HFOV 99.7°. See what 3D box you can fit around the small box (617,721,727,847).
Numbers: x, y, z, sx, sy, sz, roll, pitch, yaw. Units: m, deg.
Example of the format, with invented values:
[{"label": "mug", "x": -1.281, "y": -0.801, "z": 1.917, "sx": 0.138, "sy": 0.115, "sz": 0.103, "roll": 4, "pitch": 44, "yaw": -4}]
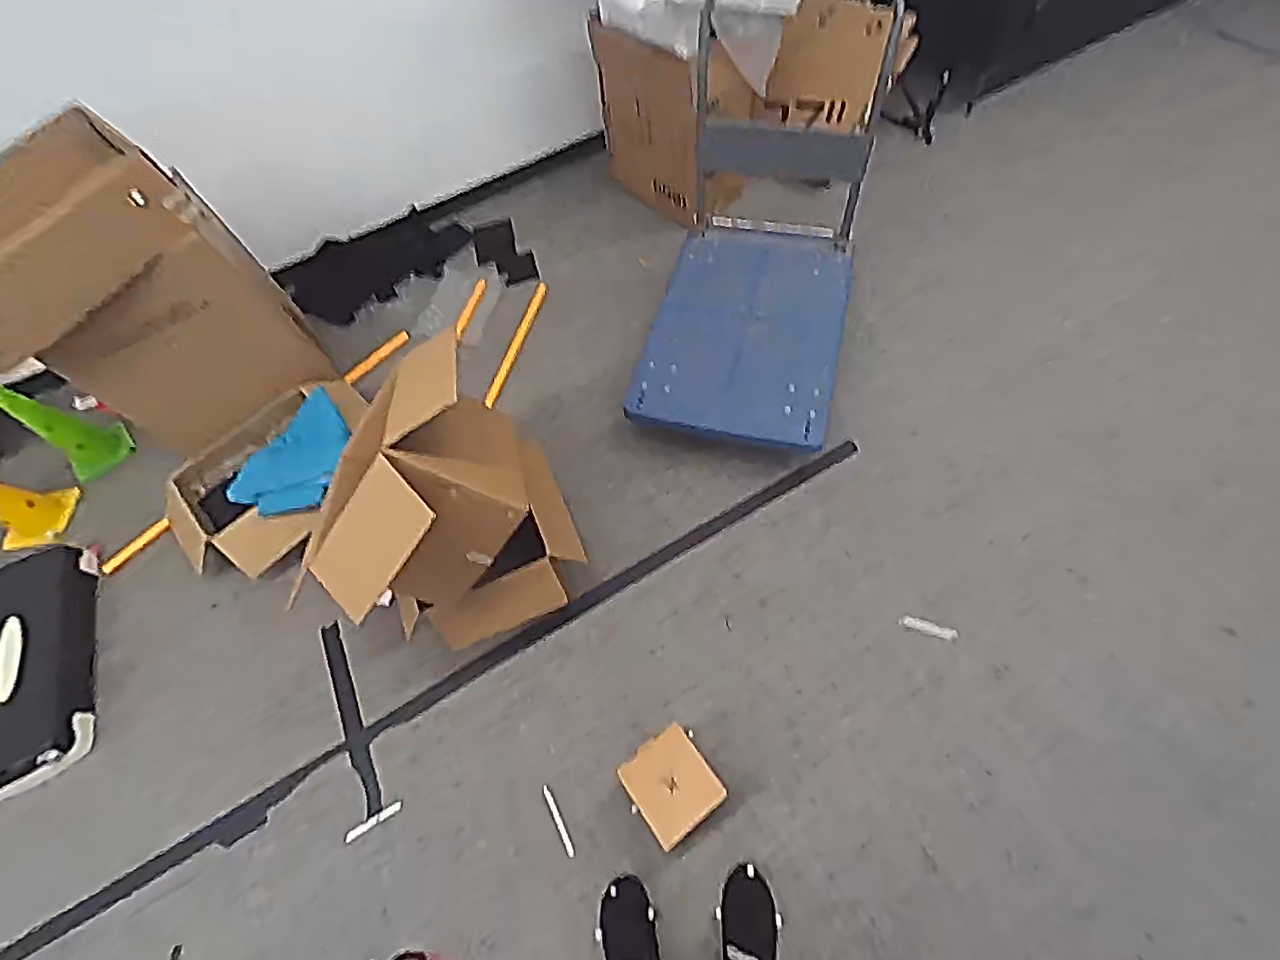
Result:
[{"label": "small box", "x": 0.074, "y": 0.660, "z": 1.189, "sx": 0.168, "sy": 0.176, "sz": 0.179, "roll": -36, "pitch": 63, "yaw": -13}]
